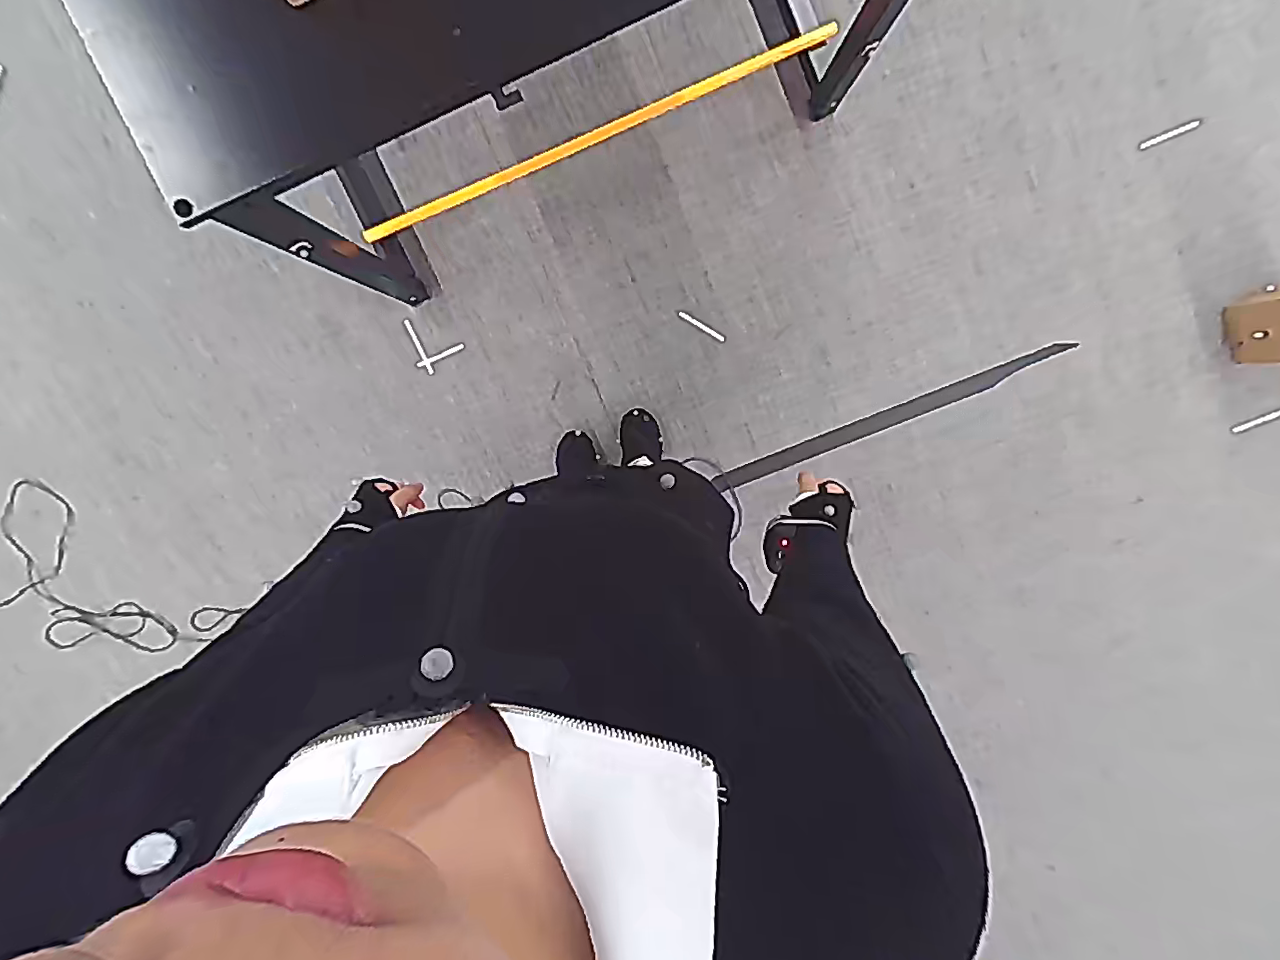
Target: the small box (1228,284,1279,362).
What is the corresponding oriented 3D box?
[{"bbox_3d":[1.650,-0.406,1.358,0.179,0.176,0.168,-23,98,4],"label":"small box"}]
